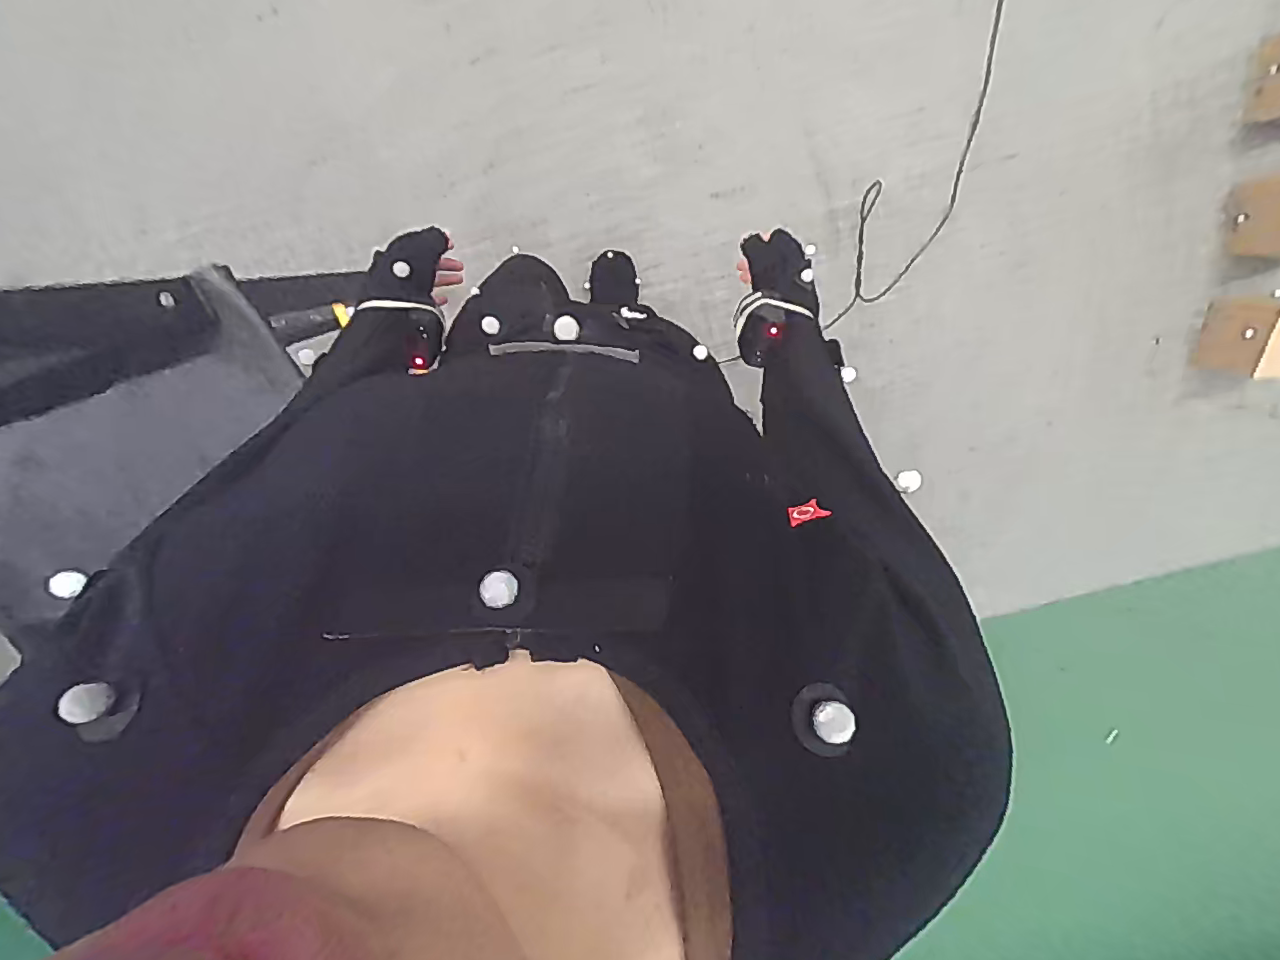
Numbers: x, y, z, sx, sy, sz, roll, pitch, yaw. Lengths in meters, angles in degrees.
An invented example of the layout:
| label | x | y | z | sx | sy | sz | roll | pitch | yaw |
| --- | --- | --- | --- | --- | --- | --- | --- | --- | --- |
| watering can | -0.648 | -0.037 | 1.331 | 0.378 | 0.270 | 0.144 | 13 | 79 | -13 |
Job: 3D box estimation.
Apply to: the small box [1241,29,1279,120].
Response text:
| label | x | y | z | sx | sy | sz | roll | pitch | yaw |
| --- | --- | --- | --- | --- | --- | --- | --- | --- | --- |
| small box | 1.444 | -0.885 | 1.130 | 0.179 | 0.176 | 0.168 | -15 | 112 | 5 |

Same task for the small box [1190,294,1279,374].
| label | x | y | z | sx | sy | sz | roll | pitch | yaw |
| --- | --- | --- | --- | --- | --- | --- | --- | --- | --- |
| small box | 1.550 | -0.369 | 1.349 | 0.168 | 0.176 | 0.179 | -2 | 114 | -1 |
